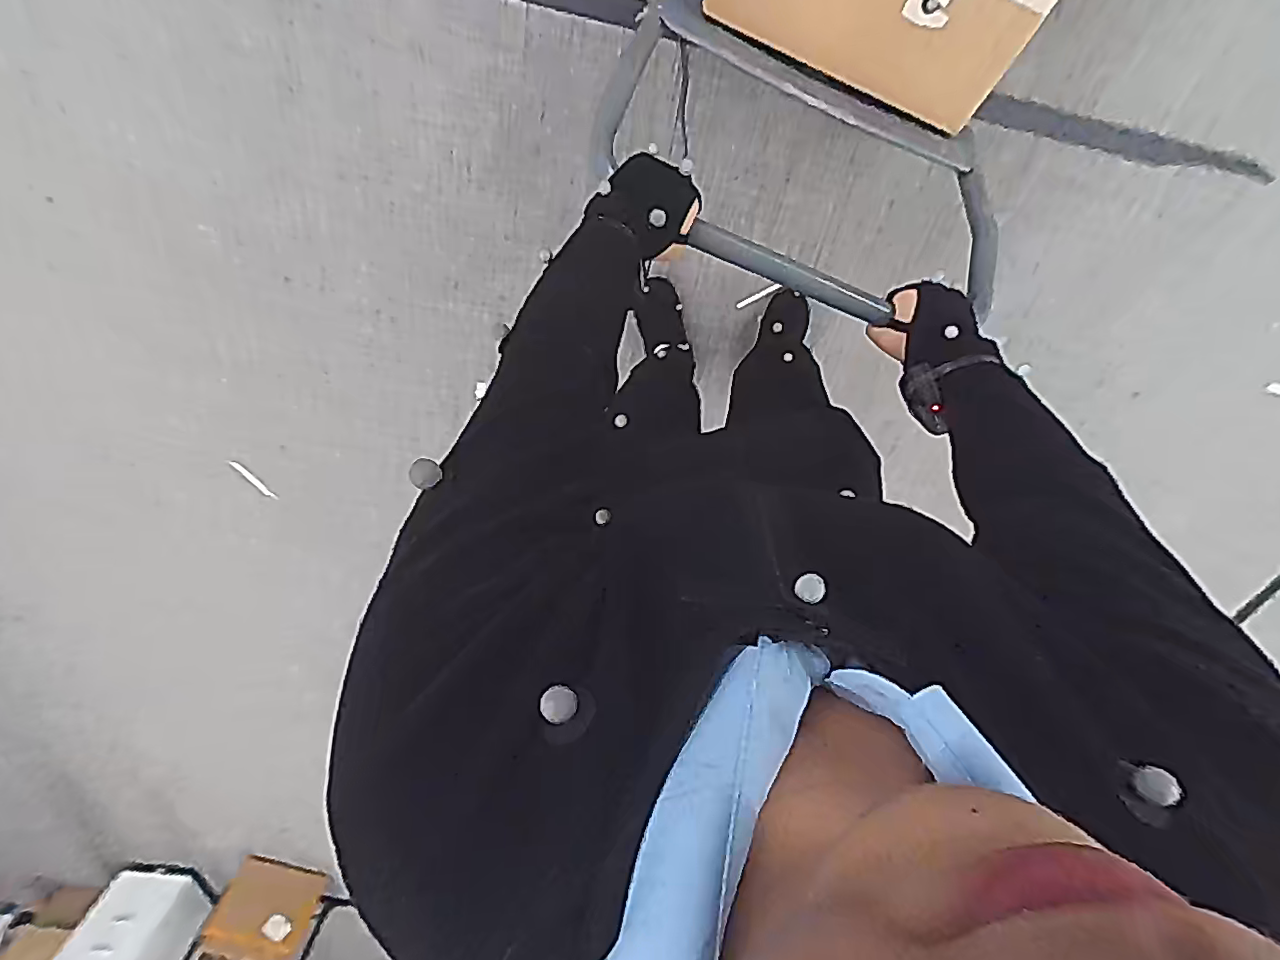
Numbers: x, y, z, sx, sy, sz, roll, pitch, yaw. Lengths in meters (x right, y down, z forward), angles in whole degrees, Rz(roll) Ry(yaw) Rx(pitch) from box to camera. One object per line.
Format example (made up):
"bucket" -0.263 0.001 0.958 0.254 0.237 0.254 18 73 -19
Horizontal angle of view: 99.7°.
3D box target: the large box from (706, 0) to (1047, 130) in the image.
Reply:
"large box" 0.341 -0.769 0.736 0.408 0.320 0.320 19 143 -8
